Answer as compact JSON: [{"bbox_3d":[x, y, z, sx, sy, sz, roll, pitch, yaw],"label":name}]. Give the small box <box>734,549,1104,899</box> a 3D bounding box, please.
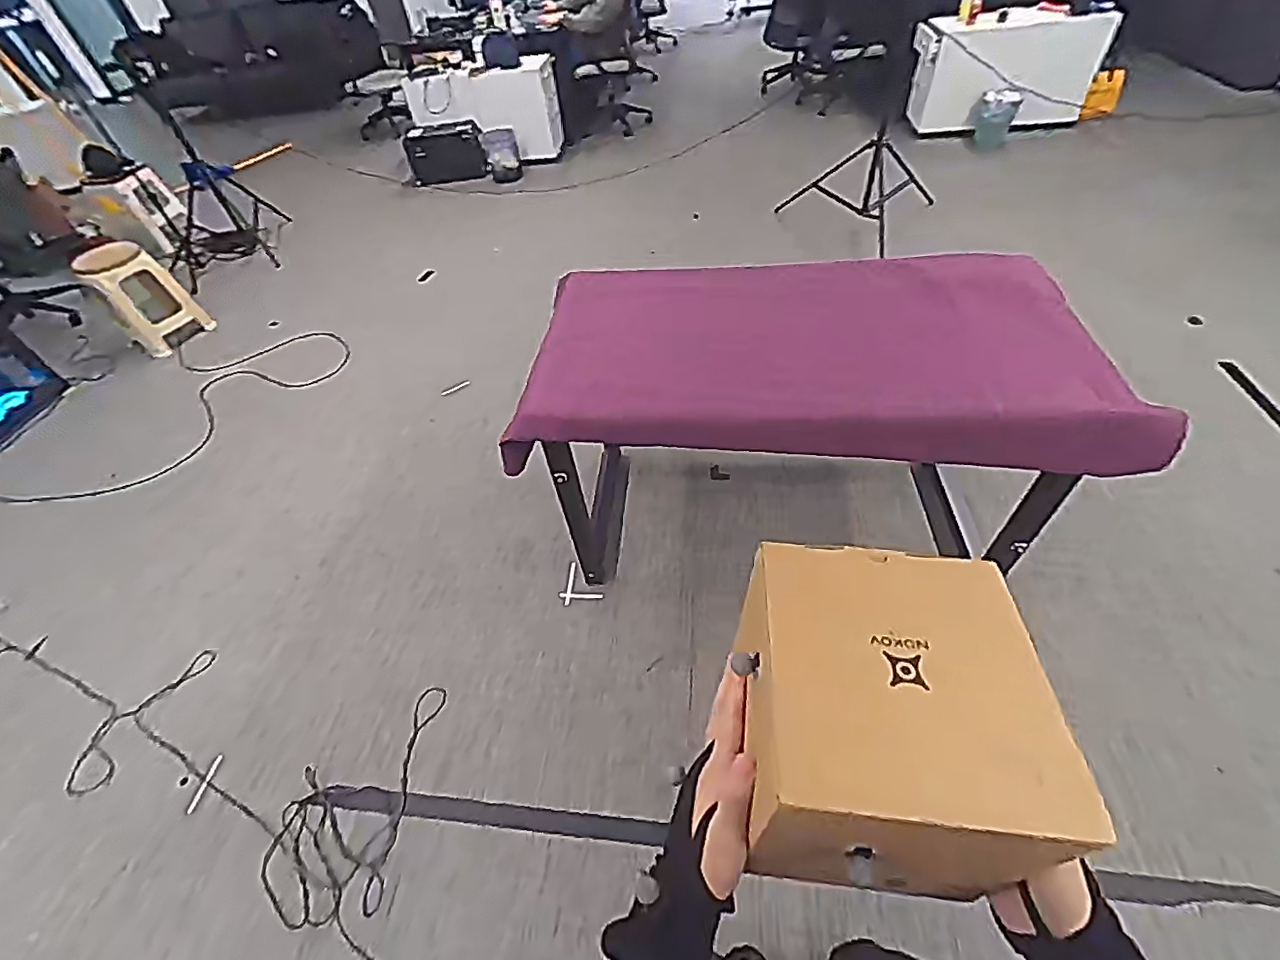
[{"bbox_3d":[0.161,0.174,0.389,0.168,0.176,0.179,5,43,4],"label":"small box"}]
